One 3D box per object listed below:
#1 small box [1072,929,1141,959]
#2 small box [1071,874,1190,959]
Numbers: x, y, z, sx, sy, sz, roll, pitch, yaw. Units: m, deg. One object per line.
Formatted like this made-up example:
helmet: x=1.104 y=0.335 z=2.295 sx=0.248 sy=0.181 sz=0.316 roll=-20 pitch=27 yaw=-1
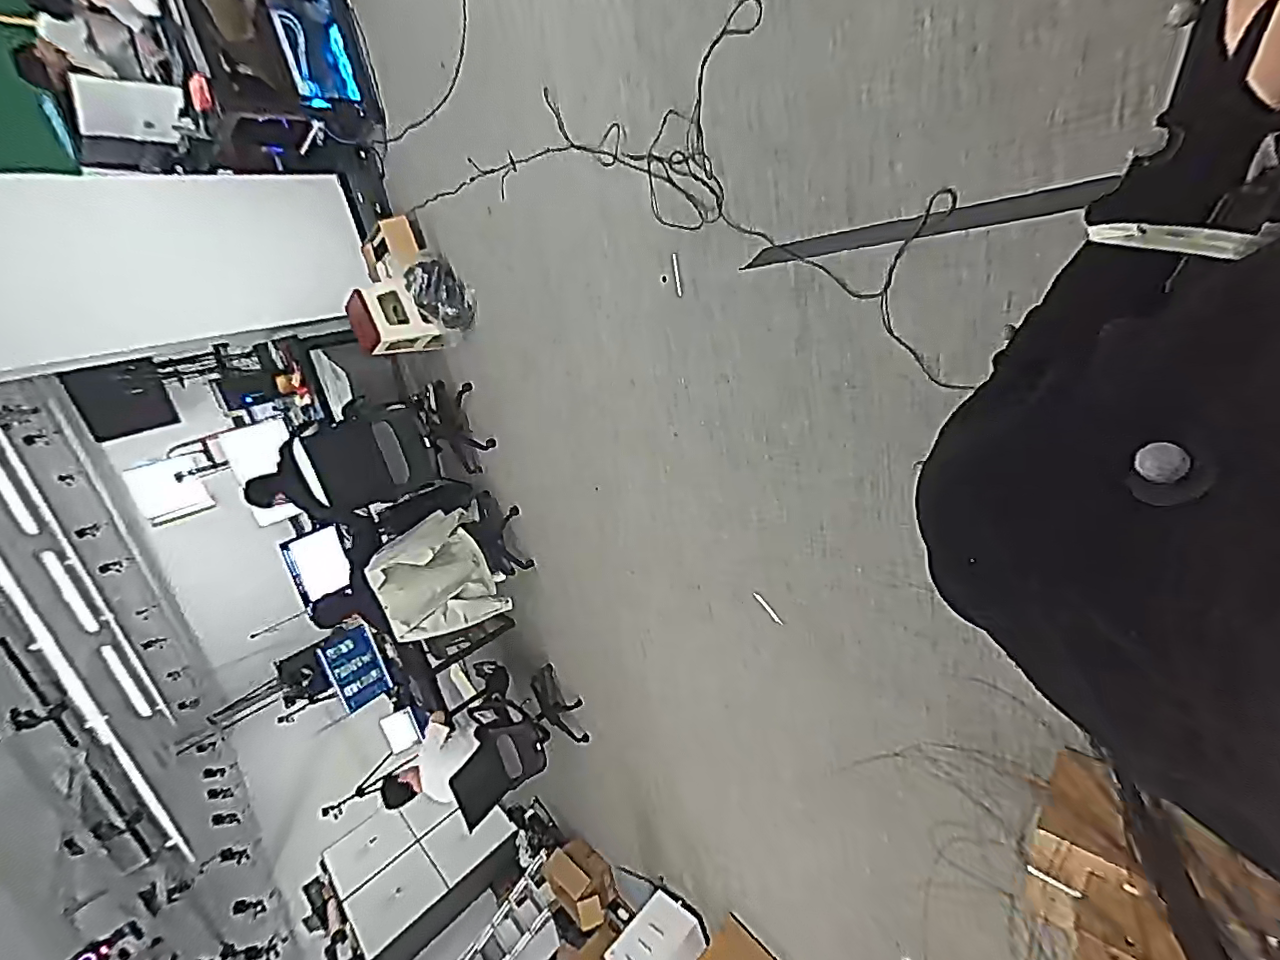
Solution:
small box: x=0.973 y=1.086 z=1.094 sx=0.168 sy=0.176 sz=0.179 roll=10 pitch=117 yaw=46
small box: x=1.086 y=1.036 z=1.199 sx=0.179 sy=0.176 sz=0.168 roll=9 pitch=117 yaw=47
